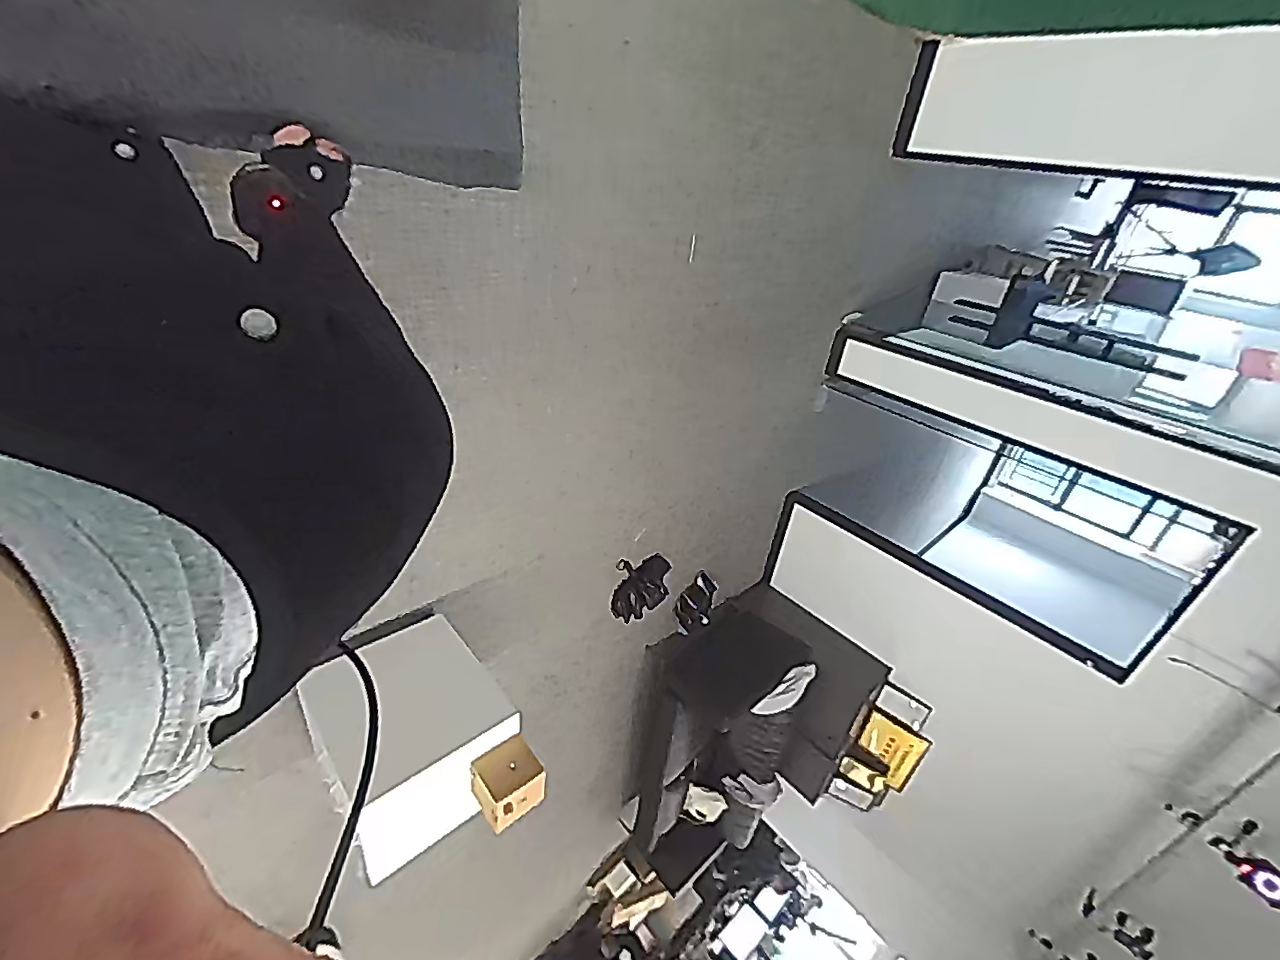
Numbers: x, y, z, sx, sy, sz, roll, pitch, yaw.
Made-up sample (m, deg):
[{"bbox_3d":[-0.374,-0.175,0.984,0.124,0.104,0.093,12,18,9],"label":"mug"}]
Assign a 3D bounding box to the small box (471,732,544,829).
[{"bbox_3d":[-0.429,0.958,1.736,0.179,0.176,0.168,-20,131,-40],"label":"small box"}]
